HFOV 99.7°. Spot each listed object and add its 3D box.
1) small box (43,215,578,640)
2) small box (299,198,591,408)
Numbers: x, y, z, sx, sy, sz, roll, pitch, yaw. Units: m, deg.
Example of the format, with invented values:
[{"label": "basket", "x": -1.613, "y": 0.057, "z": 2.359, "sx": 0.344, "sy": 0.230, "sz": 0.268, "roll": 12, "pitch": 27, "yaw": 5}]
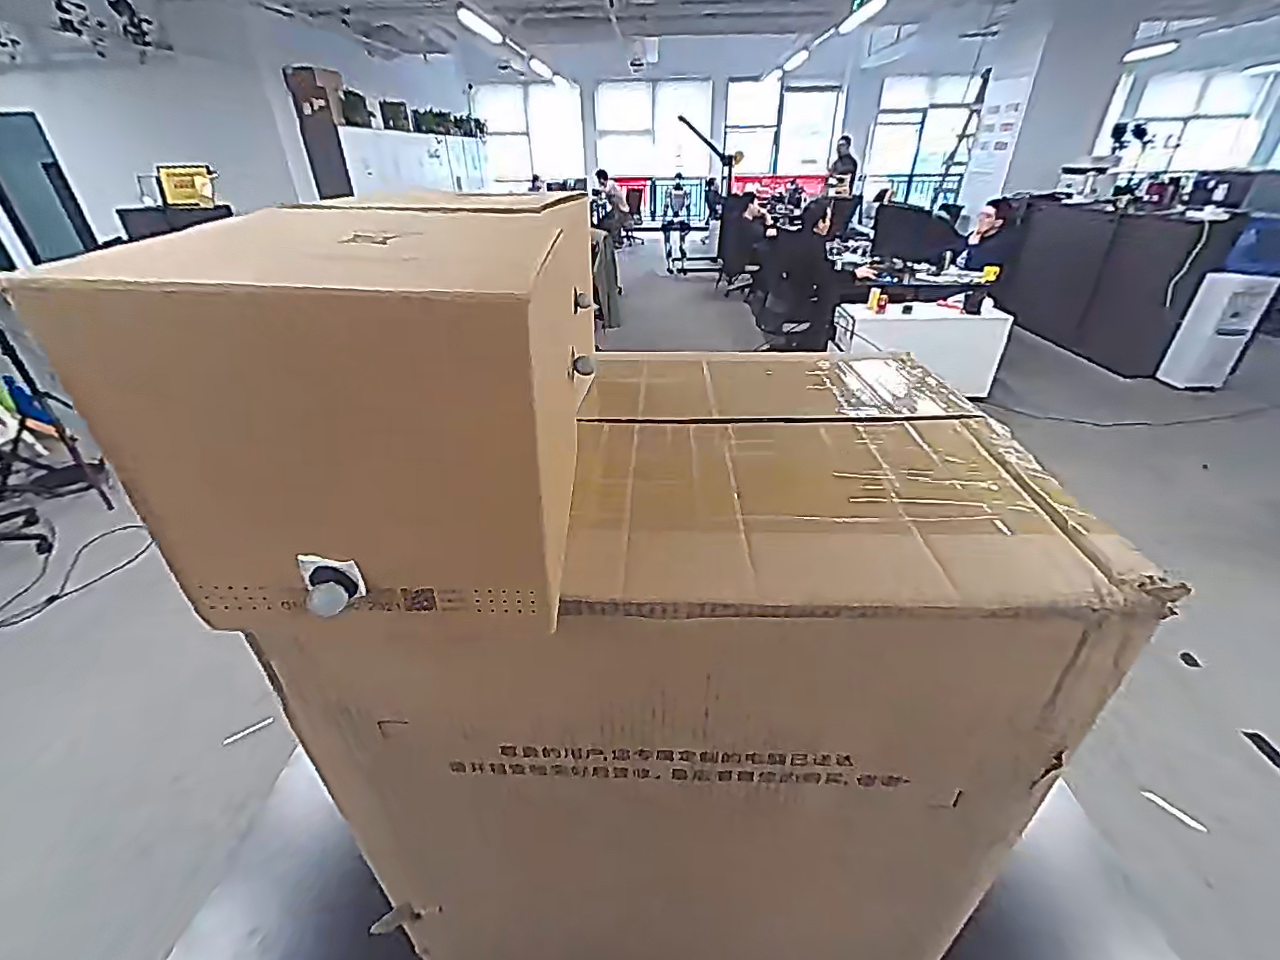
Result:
[{"label": "small box", "x": -0.122, "y": -0.037, "z": 0.293, "sx": 0.168, "sy": 0.176, "sz": 0.179, "roll": -1, "pitch": 34, "yaw": -3}, {"label": "small box", "x": -0.136, "y": -0.139, "z": 0.457, "sx": 0.168, "sy": 0.176, "sz": 0.179, "roll": 2, "pitch": 31, "yaw": 5}]
